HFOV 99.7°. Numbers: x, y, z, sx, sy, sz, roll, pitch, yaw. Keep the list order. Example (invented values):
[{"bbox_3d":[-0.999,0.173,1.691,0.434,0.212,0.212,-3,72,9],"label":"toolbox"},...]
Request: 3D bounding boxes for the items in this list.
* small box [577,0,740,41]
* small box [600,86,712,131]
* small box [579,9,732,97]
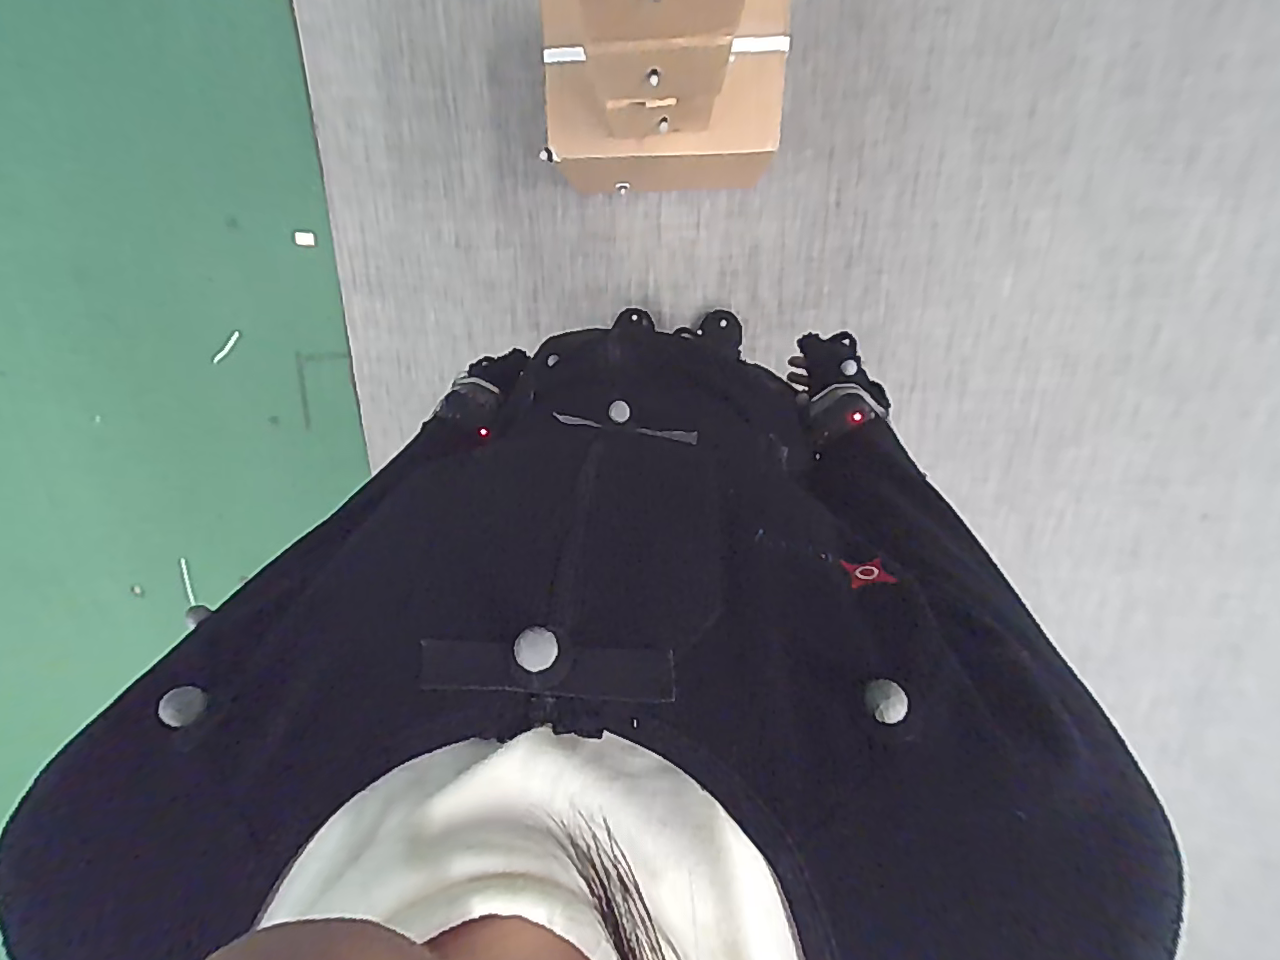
[{"bbox_3d":[0.016,-0.557,0.520,0.179,0.176,0.168,-2,110,4],"label":"small box"},{"bbox_3d":[0.026,-0.657,0.831,0.168,0.176,0.179,-2,109,5],"label":"small box"},{"bbox_3d":[0.022,-0.603,0.675,0.179,0.176,0.168,1,109,5],"label":"small box"}]
